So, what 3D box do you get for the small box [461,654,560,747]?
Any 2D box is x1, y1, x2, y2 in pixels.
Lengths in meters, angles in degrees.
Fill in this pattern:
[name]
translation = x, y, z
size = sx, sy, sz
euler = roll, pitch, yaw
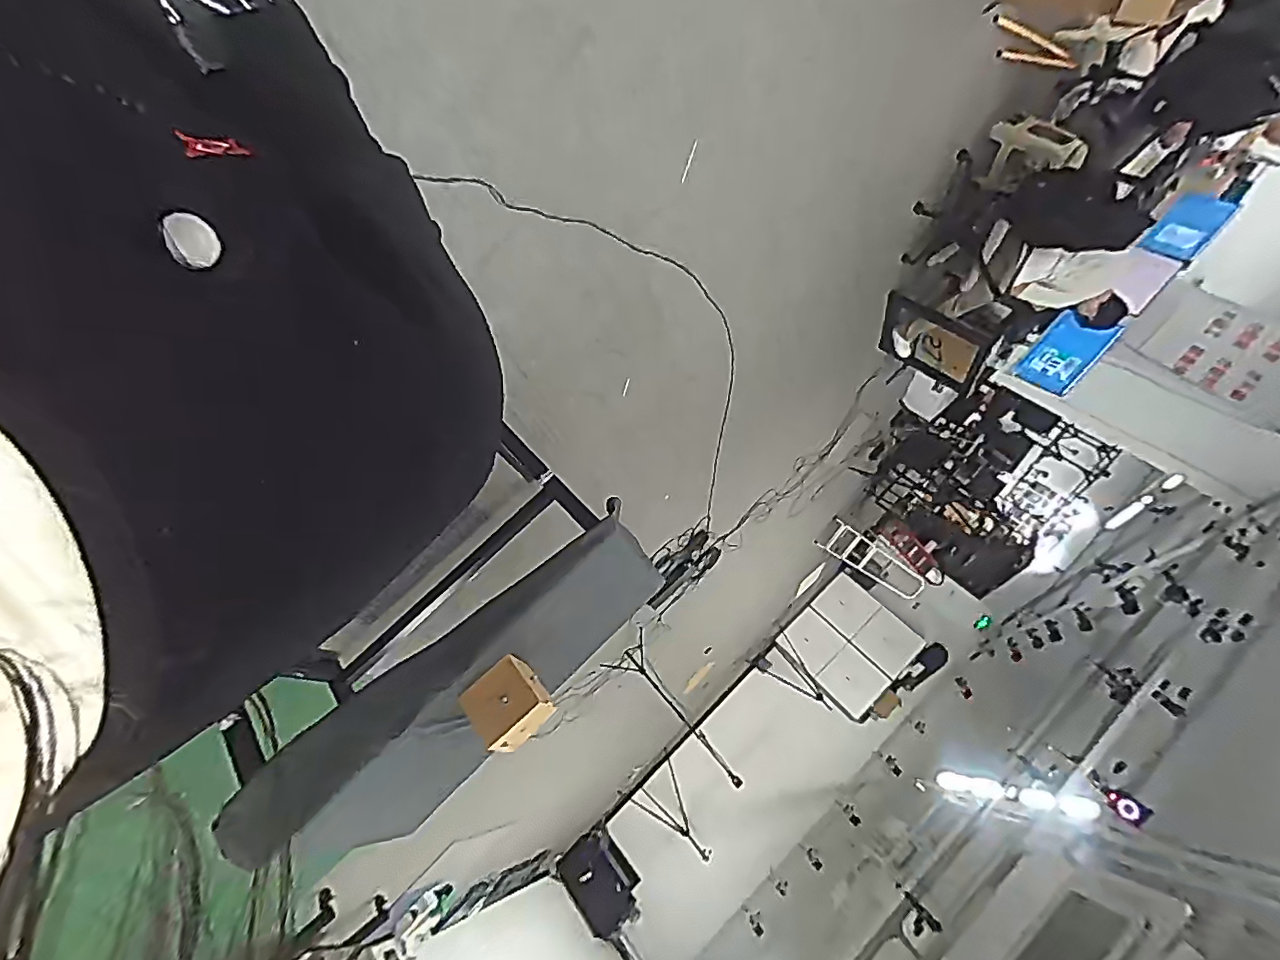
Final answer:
[small box]
translation = -0.359, 0.611, 1.504
size = 0.179, 0.176, 0.168
euler = -42, 153, -10
